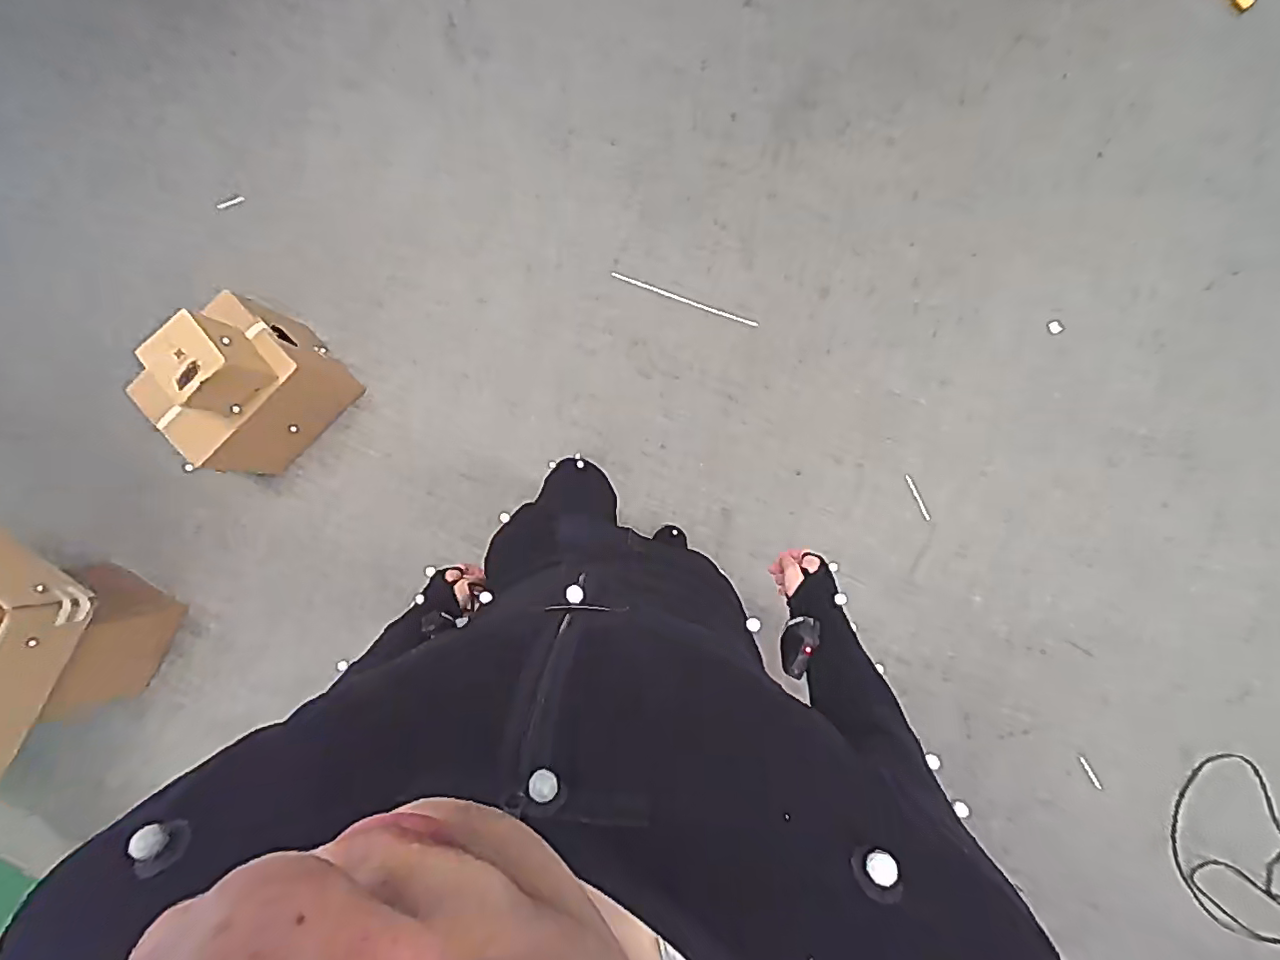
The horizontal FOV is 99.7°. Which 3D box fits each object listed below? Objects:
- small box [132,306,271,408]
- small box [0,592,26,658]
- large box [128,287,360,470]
[{"bbox_3d":[-1.083,-0.296,1.351,0.168,0.176,0.179,-41,87,2],"label":"small box"},{"bbox_3d":[-1.636,0.345,1.266,0.179,0.176,0.168,30,90,3],"label":"small box"},{"bbox_3d":[-1.143,-0.276,1.602,0.408,0.320,0.320,-45,85,3],"label":"large box"}]
